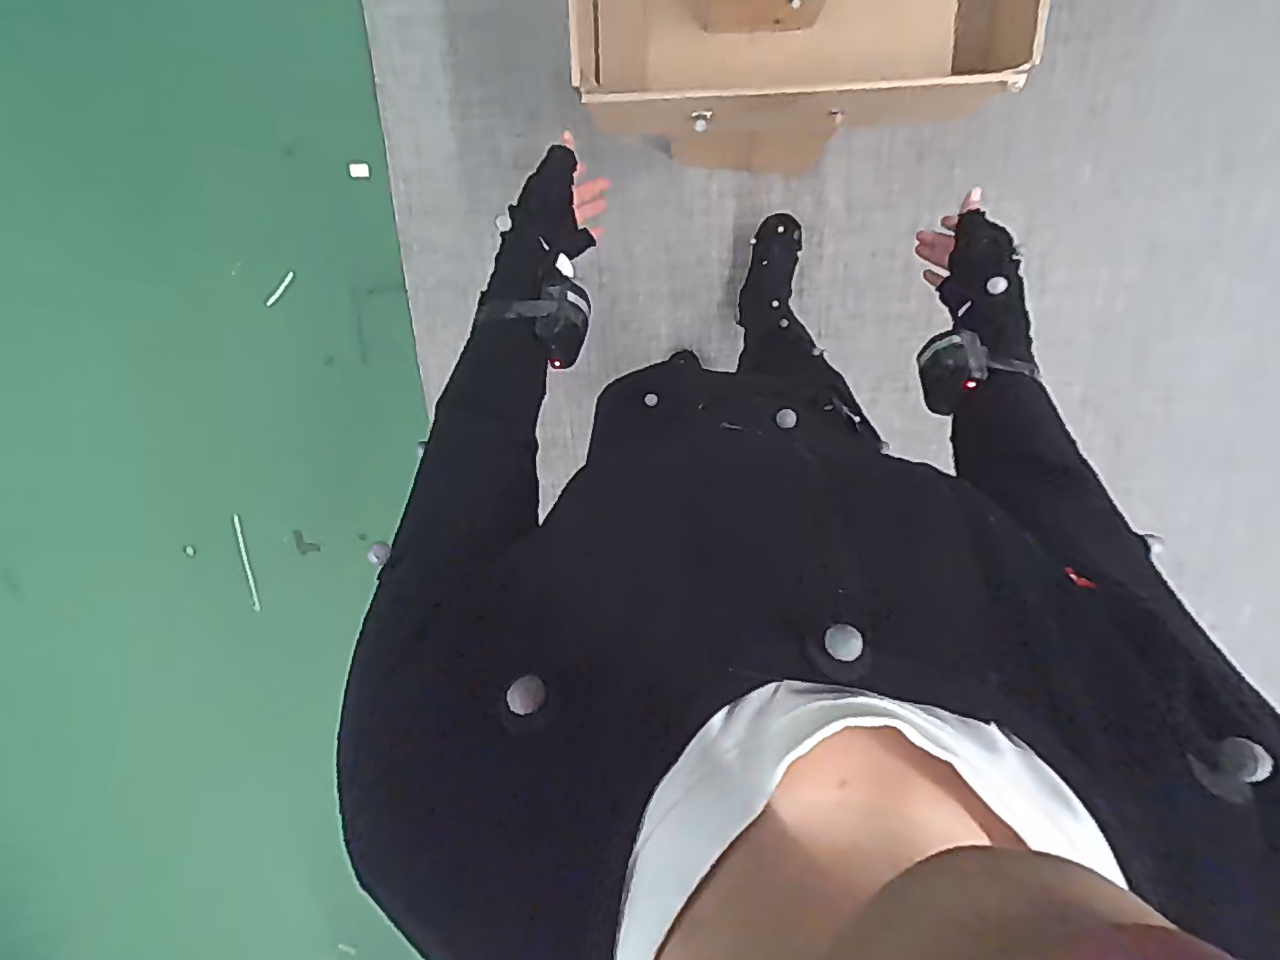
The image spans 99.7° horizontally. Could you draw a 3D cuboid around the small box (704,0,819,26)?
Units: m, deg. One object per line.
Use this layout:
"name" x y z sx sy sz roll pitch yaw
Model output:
"small box" 0.174 -0.750 0.726 0.168 0.176 0.179 -1 104 2
